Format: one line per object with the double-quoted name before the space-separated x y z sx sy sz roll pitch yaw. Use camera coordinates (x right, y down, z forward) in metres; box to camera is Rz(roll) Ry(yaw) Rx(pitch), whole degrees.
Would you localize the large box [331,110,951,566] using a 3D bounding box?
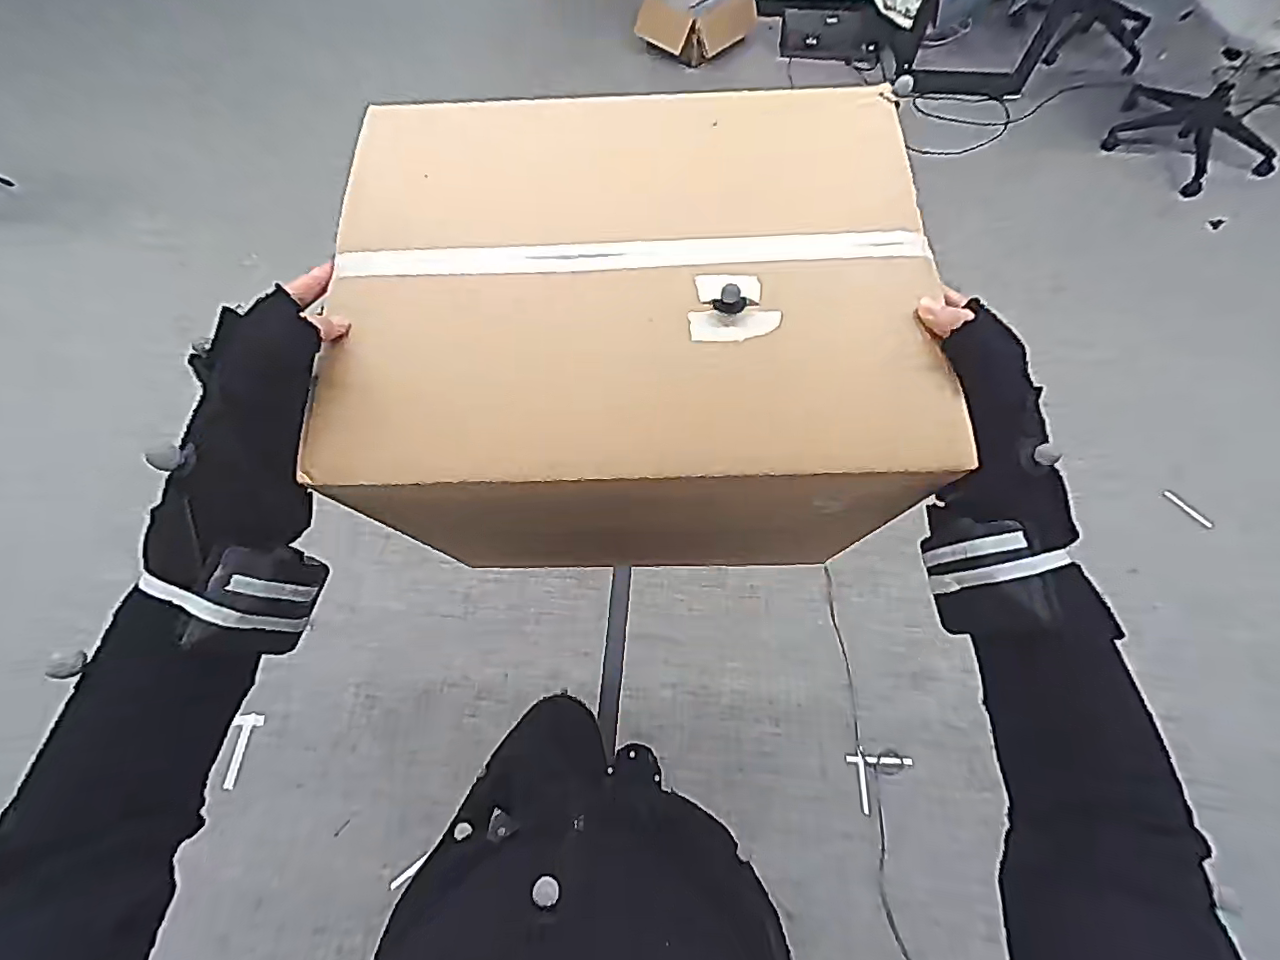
"large box" -0.002 -0.101 0.530 0.408 0.320 0.320 -1 71 1
